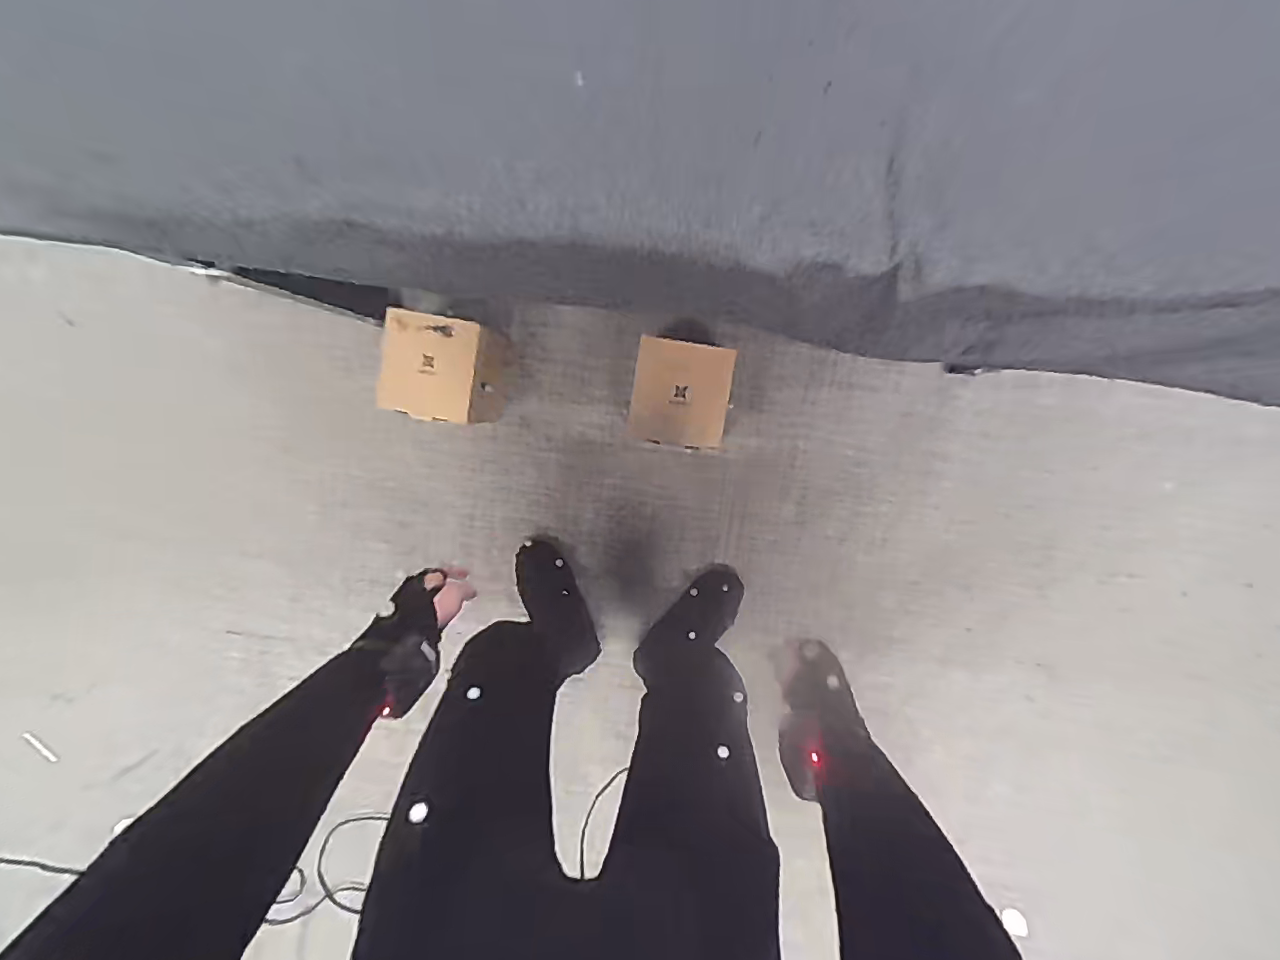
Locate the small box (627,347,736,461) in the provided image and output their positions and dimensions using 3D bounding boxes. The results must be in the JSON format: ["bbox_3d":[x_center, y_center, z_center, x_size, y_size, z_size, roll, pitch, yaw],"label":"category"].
[{"bbox_3d":[0.075,-0.136,1.000,0.168,0.176,0.179,8,94,2],"label":"small box"}]
